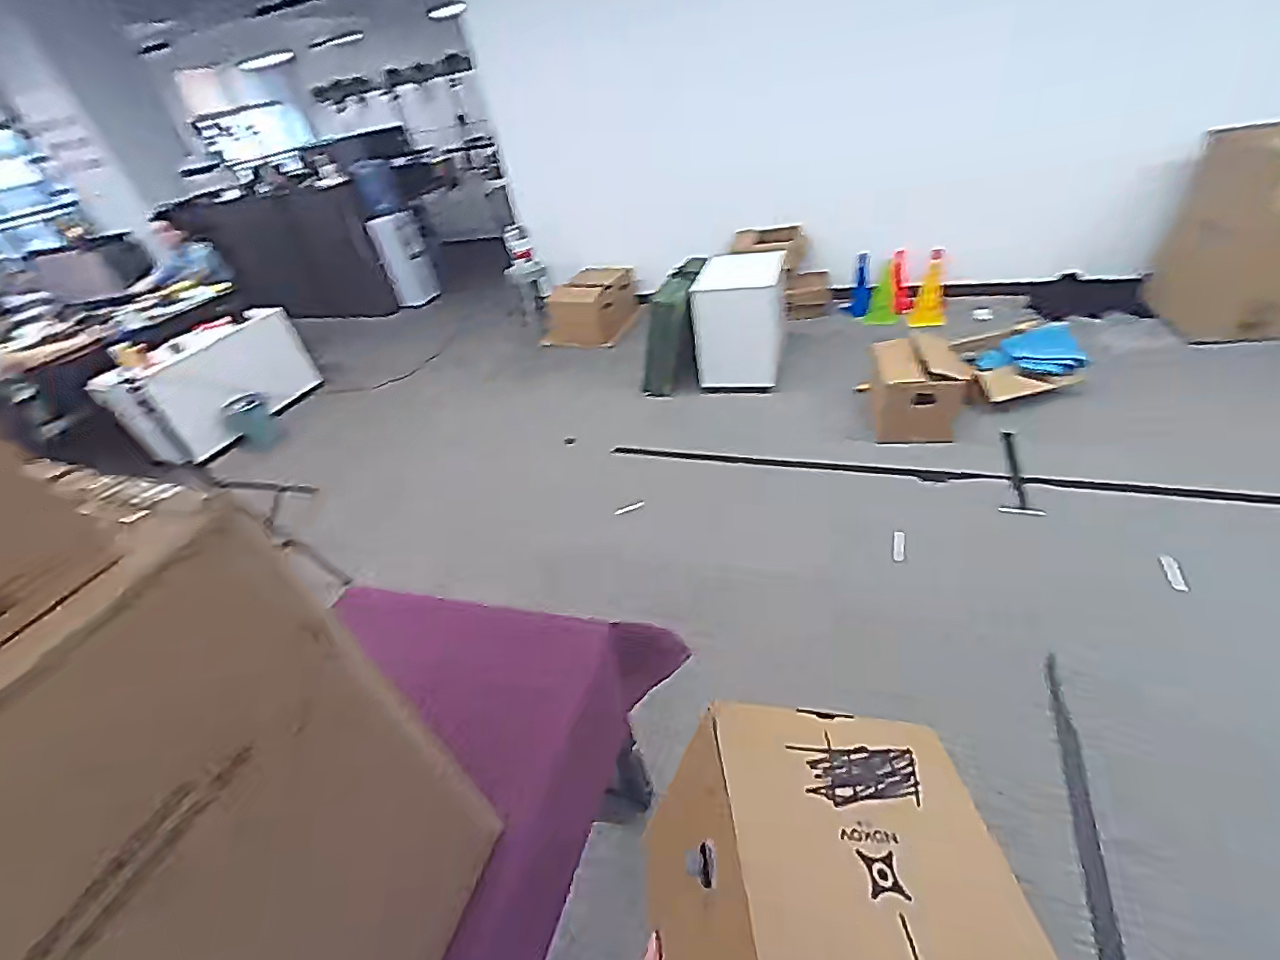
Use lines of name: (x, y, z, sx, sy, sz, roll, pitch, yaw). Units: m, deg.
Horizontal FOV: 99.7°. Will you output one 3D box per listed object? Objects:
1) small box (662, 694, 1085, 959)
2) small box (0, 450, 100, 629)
small box: (0.116, 0.265, 0.330, 0.168, 0.176, 0.179, 10, 30, -10)
small box: (-0.455, 0.026, 0.275, 0.179, 0.176, 0.168, 6, 42, 21)
